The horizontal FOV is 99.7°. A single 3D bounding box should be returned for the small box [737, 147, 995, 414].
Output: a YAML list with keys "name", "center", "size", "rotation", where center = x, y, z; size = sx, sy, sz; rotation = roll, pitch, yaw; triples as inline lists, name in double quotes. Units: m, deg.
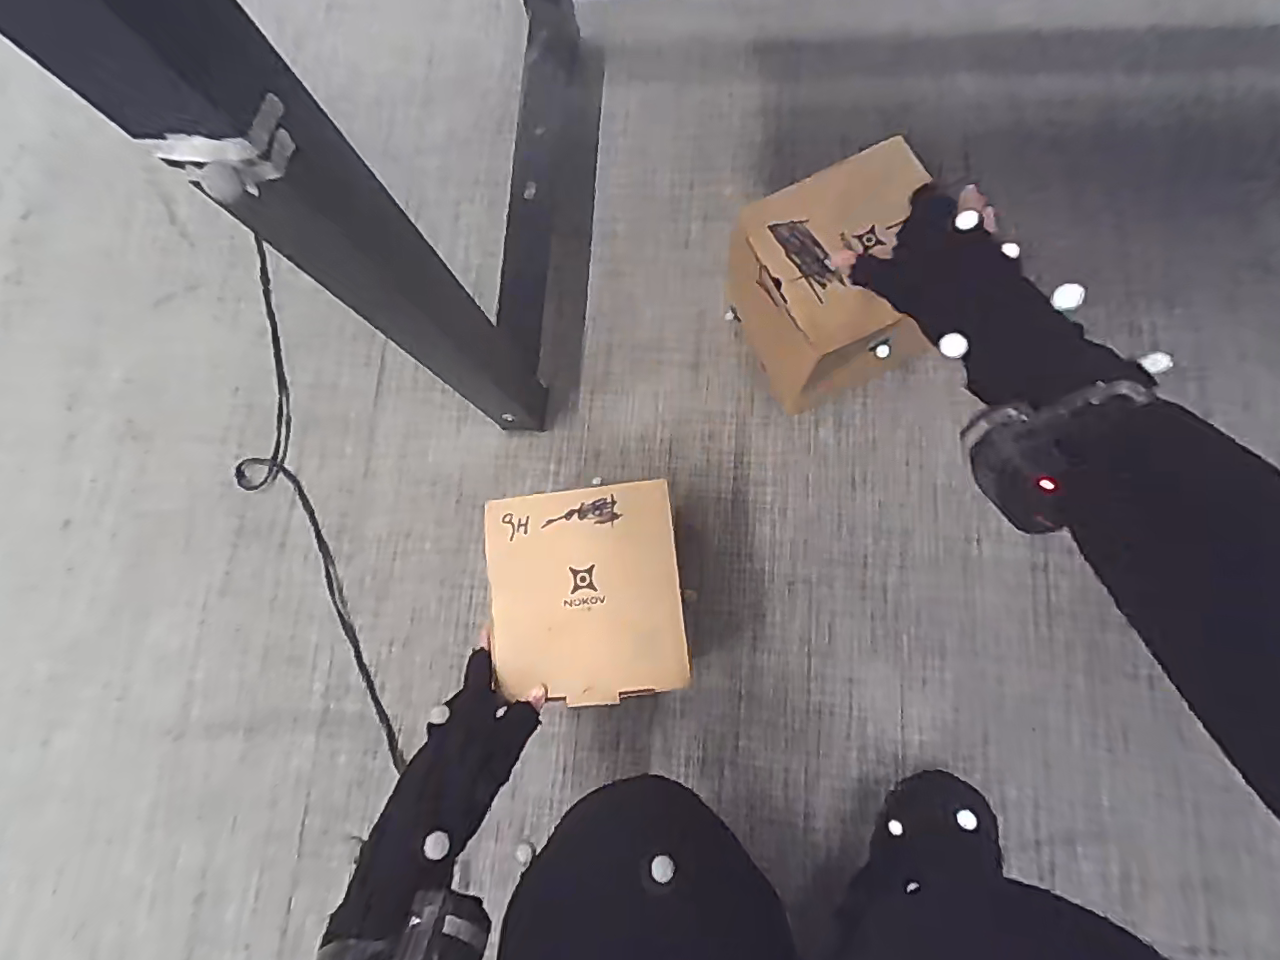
- name: "small box"
  center: [0.211, -0.191, 0.569]
  size: [0.179, 0.176, 0.168]
  rotation: [-24, 78, 0]
